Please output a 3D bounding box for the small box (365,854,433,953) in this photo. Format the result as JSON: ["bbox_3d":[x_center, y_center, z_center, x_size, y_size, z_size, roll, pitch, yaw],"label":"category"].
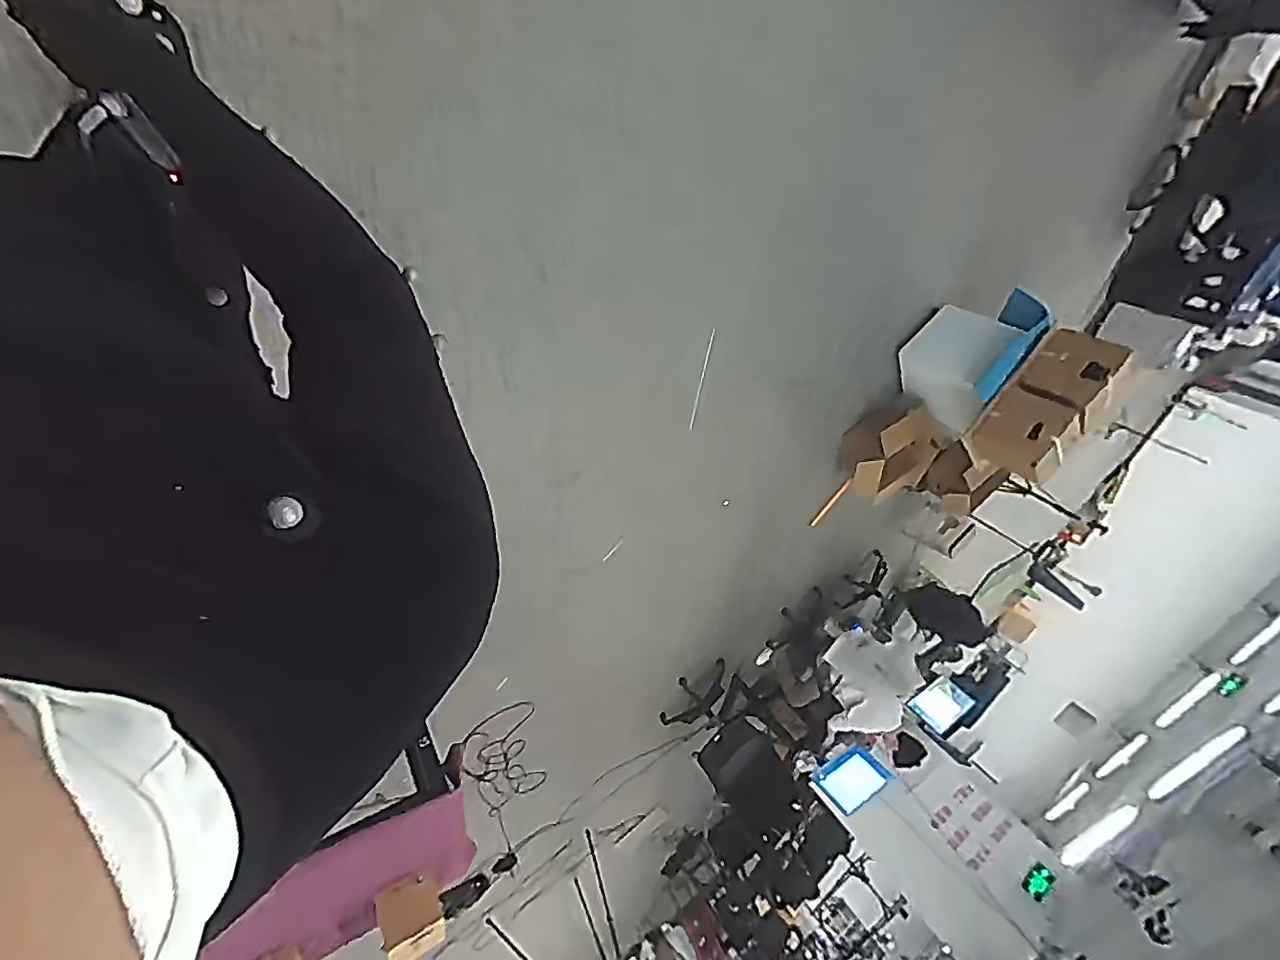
[{"bbox_3d":[-0.779,1.357,1.746,0.168,0.176,0.179,-12,131,-34],"label":"small box"}]
